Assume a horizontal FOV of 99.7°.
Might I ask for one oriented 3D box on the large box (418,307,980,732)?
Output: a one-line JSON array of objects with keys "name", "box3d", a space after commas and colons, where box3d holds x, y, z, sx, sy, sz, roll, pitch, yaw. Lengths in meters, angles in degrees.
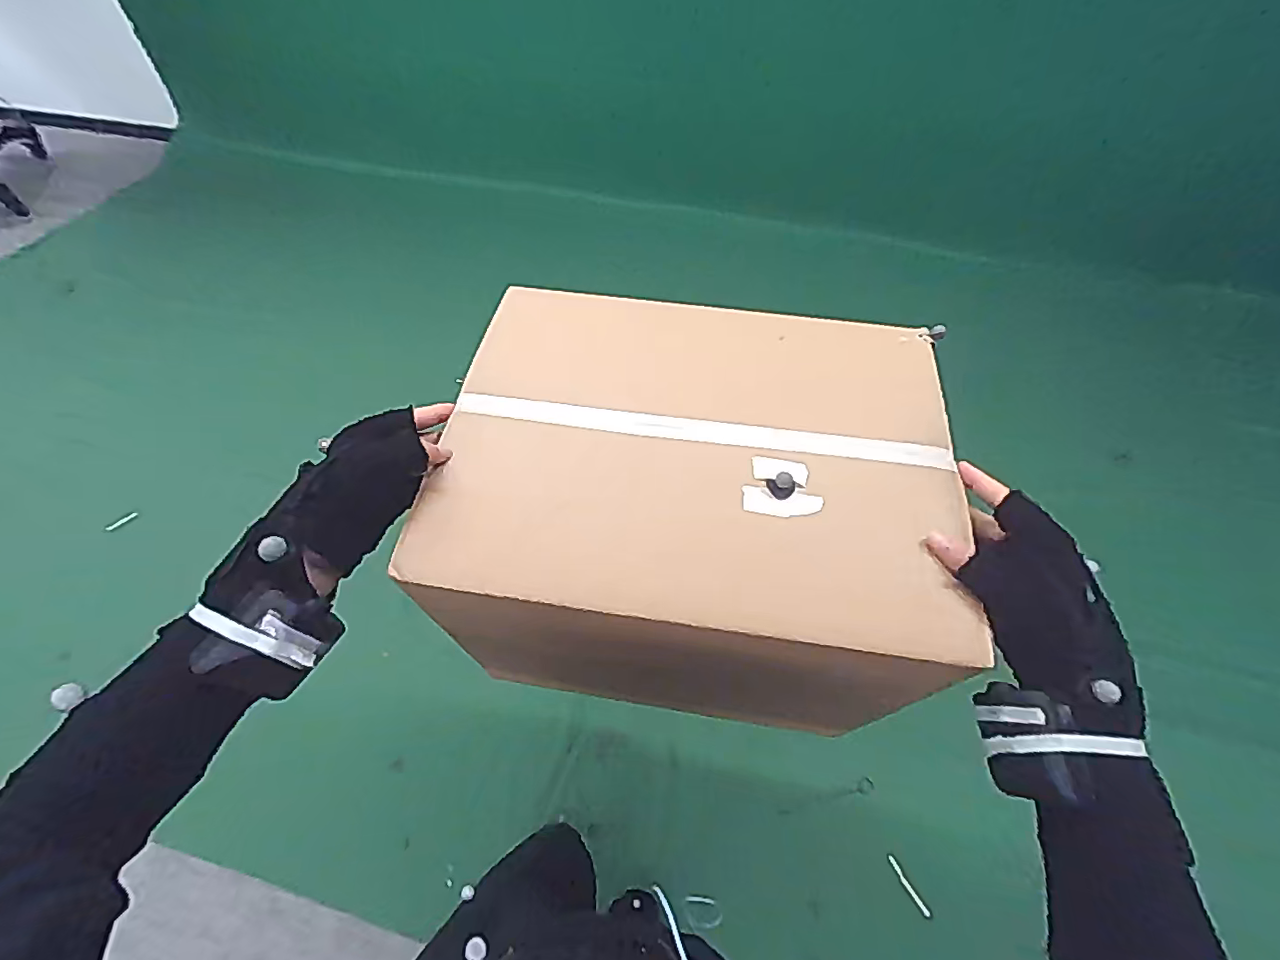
[{"name": "large box", "box3d": [0.050, 0.054, 0.579, 0.408, 0.320, 0.320, 8, 57, 4]}]
